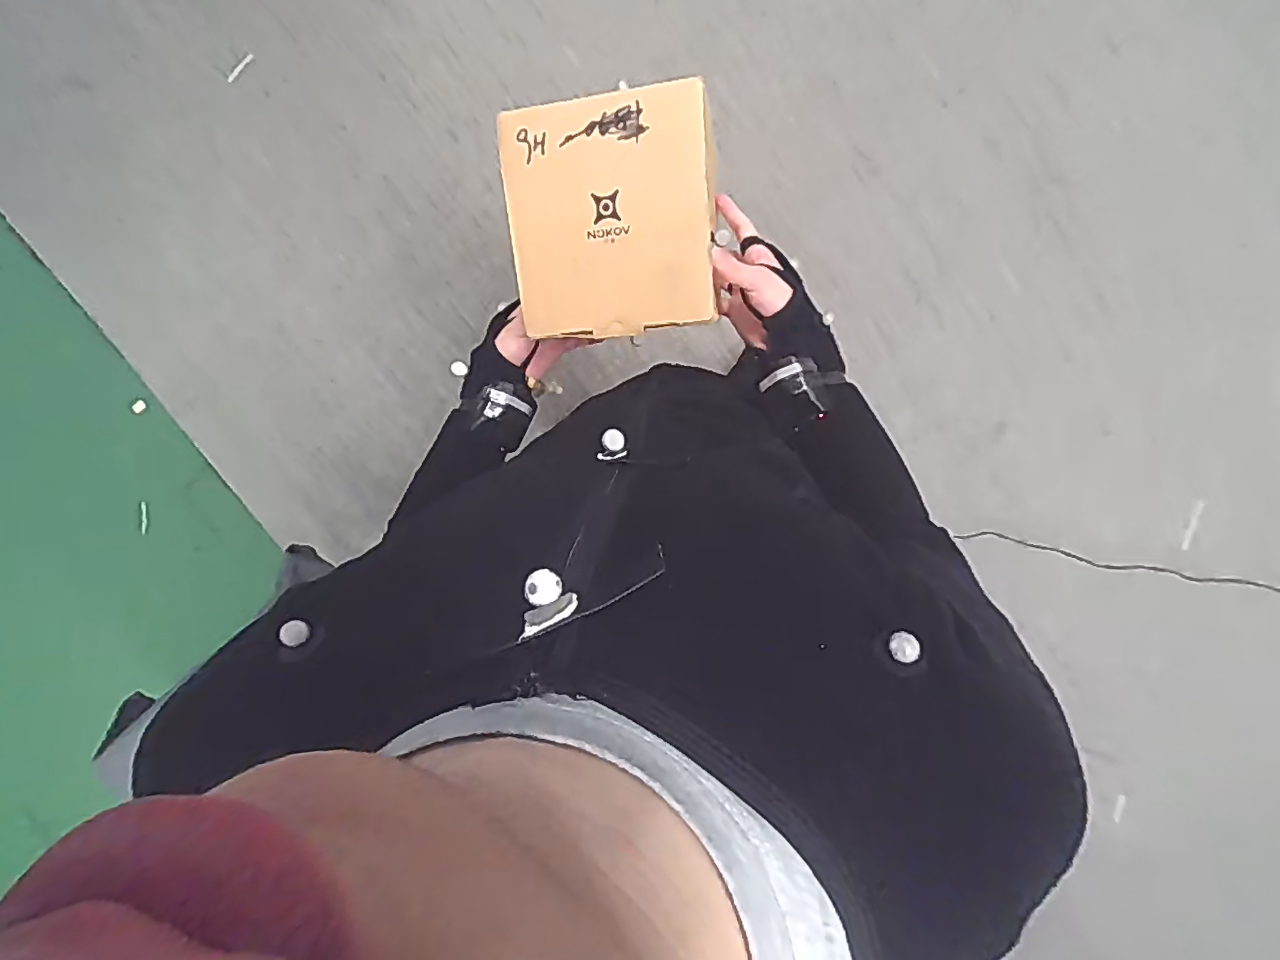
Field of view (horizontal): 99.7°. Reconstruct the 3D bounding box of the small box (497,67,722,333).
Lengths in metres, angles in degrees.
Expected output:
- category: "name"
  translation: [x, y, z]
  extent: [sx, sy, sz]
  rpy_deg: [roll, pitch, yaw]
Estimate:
- category: "small box"
  translation: [-0.010, -0.238, 0.501]
  extent: [0.168, 0.176, 0.179]
  rpy_deg: [-2, 108, 10]
